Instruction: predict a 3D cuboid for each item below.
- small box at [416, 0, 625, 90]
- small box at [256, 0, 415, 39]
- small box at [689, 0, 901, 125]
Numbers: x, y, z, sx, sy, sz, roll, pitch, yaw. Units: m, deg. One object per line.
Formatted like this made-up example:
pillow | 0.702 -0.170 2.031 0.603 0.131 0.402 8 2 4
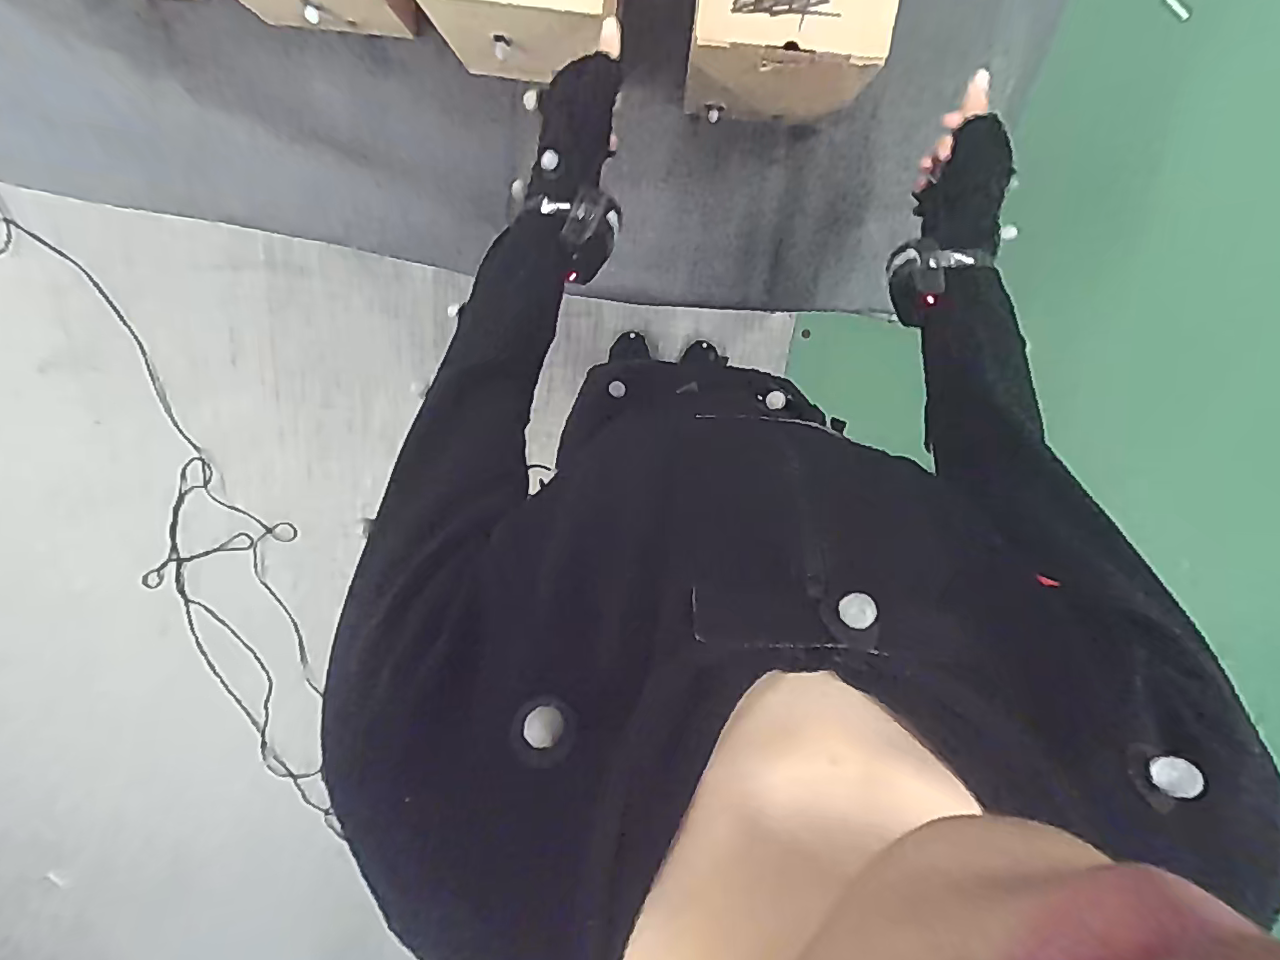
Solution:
small box | -0.098 -0.498 0.501 0.168 0.176 0.179 7 106 -1
small box | -0.316 -0.550 0.487 0.168 0.176 0.179 6 107 0
small box | 0.139 -0.461 0.504 0.168 0.176 0.179 6 106 0
